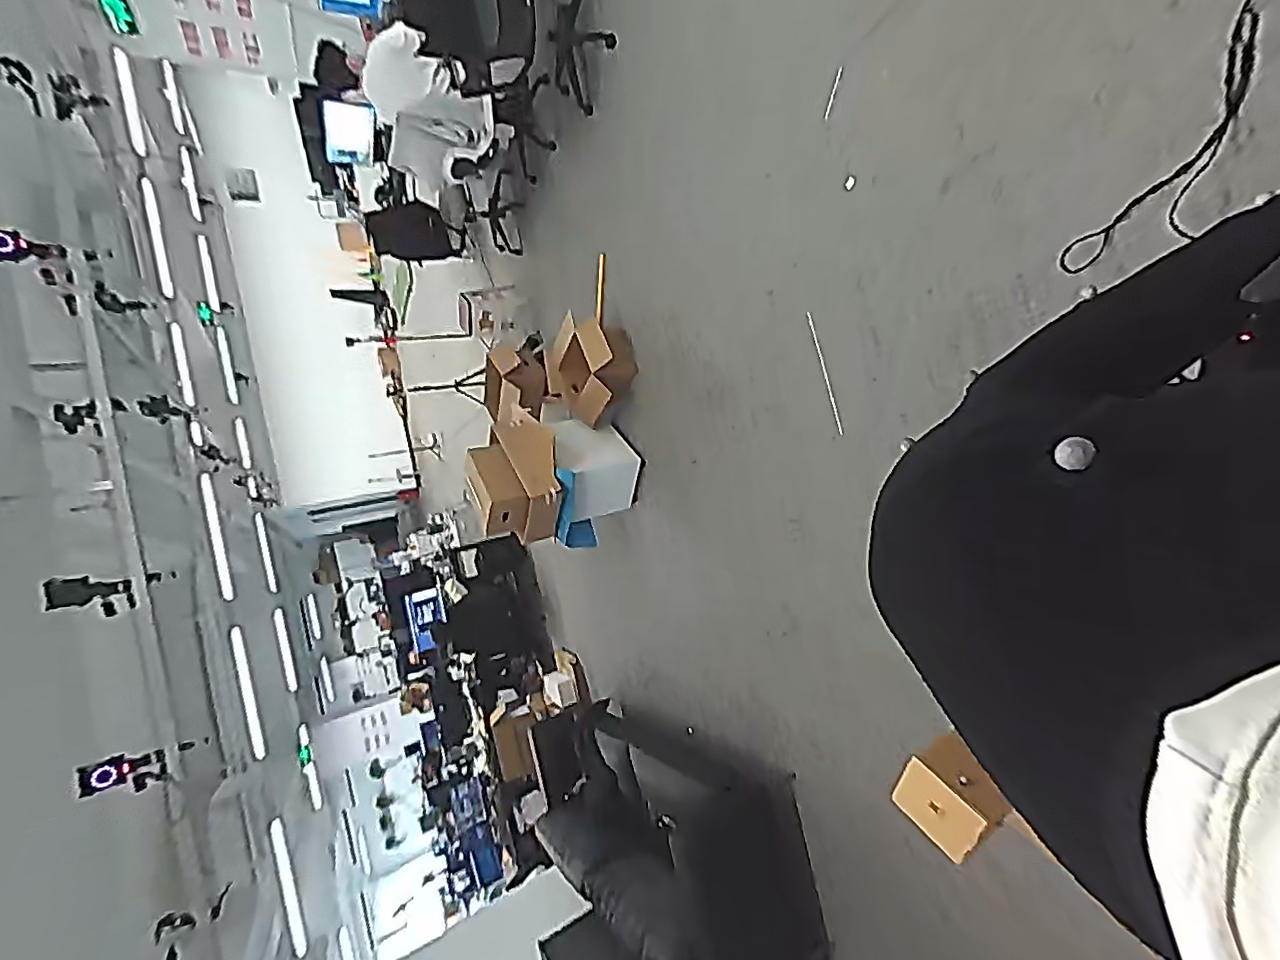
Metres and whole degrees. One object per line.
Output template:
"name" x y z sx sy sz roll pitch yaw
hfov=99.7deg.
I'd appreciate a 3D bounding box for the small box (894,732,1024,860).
"small box" 0.738 0.719 1.257 0.179 0.176 0.168 39 132 46
